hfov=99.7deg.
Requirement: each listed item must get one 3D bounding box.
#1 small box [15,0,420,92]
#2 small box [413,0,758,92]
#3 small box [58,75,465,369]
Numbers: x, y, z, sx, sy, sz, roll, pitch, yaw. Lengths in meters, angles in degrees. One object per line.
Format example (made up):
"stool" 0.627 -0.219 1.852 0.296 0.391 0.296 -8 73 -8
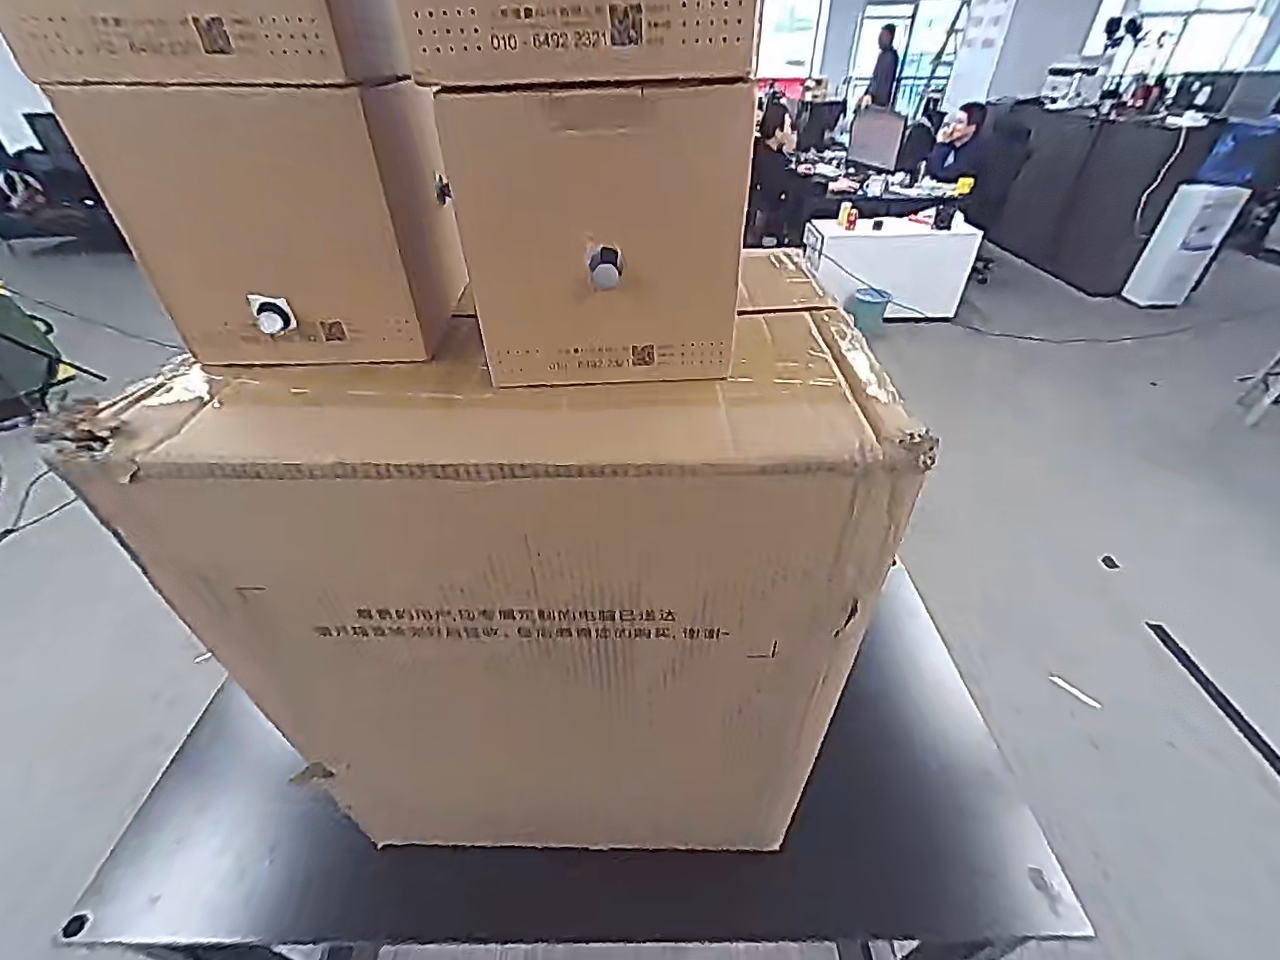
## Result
"small box" -0.239 -0.325 0.303 0.168 0.176 0.179 -2 38 -2
"small box" -0.029 -0.307 0.275 0.168 0.176 0.179 -2 39 0
"small box" -0.238 -0.197 0.407 0.168 0.176 0.179 -3 40 -4
